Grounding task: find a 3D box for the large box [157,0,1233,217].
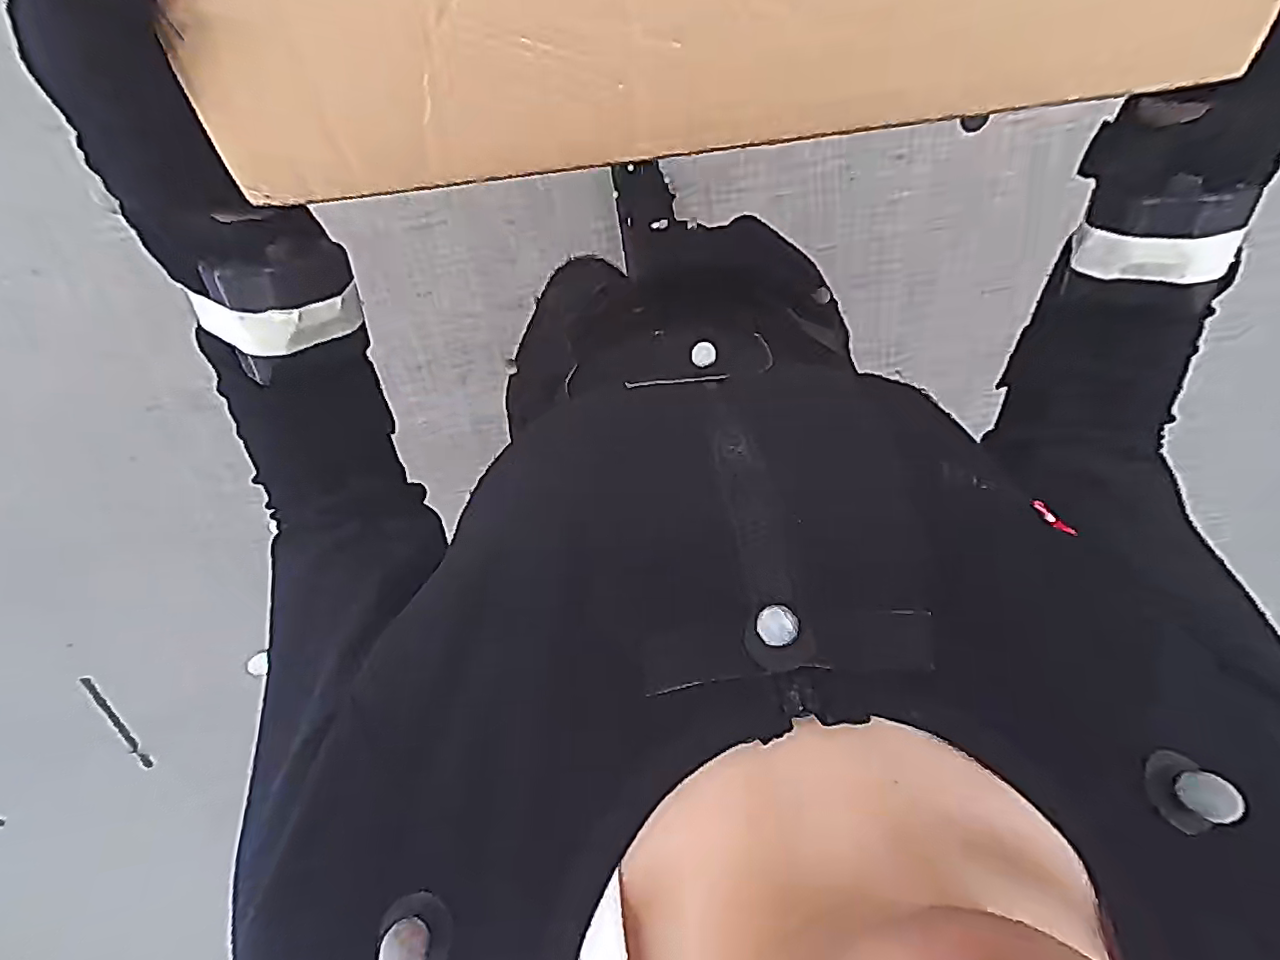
[{"bbox_3d":[0.010,-0.353,0.243,0.408,0.320,0.320,-7,130,2],"label":"large box"}]
